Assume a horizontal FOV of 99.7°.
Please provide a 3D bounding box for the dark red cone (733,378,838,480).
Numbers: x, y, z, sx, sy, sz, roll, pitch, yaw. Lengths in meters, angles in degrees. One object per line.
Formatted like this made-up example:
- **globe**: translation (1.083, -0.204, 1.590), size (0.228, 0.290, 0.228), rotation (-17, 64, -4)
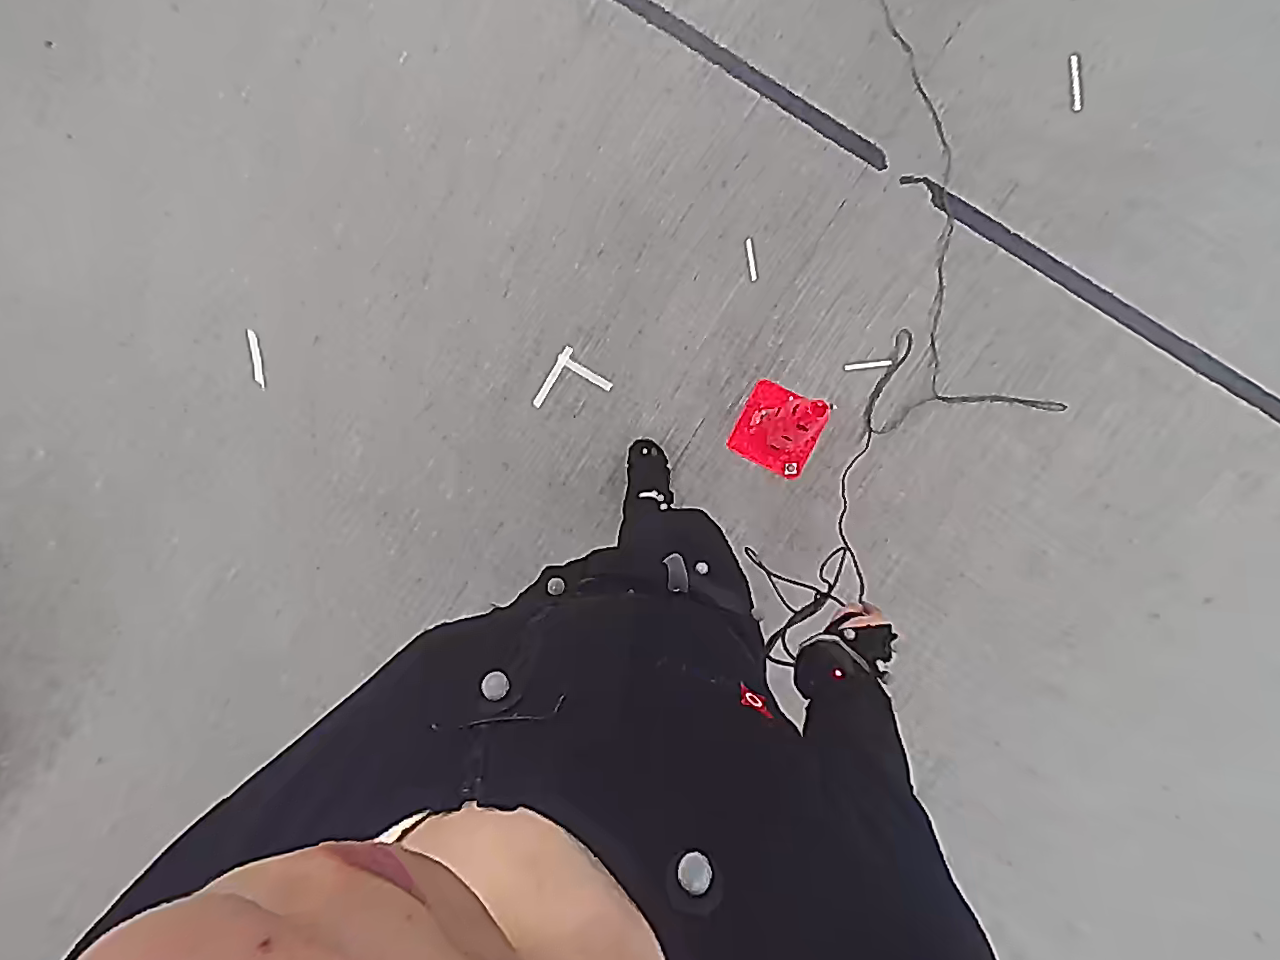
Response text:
- **dark red cone**: translation (0.338, -0.127, 1.139), size (0.202, 0.394, 0.201), rotation (26, 89, 3)
